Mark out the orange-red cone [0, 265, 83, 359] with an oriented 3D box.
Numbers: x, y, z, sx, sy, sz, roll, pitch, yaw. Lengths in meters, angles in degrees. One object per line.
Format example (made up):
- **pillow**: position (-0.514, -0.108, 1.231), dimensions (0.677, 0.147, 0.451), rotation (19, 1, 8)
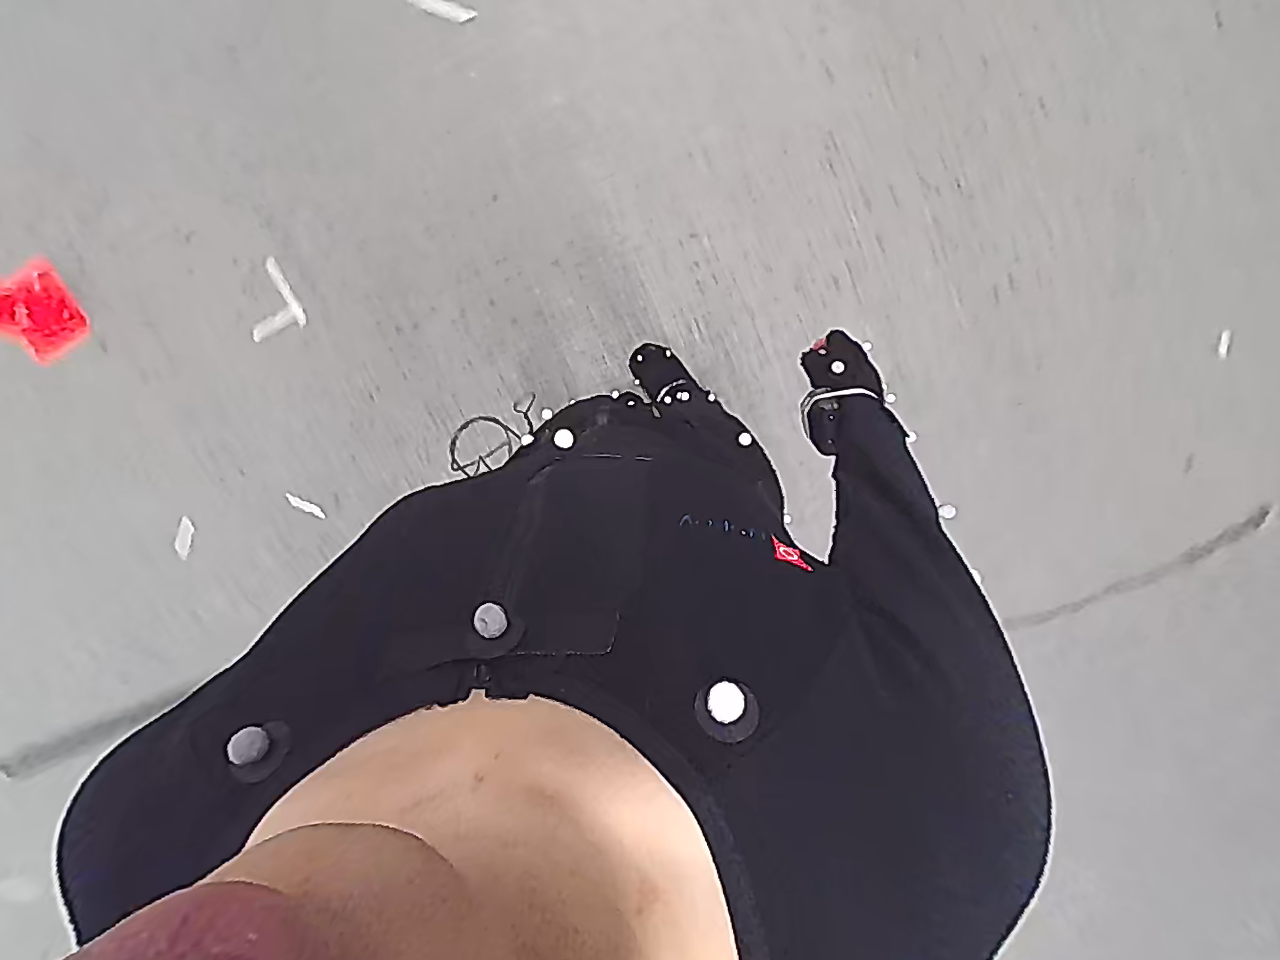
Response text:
- **orange-red cone**: position (-1.629, -0.411, 1.287), dimensions (0.199, 0.360, 0.198), rotation (-28, 99, 10)
